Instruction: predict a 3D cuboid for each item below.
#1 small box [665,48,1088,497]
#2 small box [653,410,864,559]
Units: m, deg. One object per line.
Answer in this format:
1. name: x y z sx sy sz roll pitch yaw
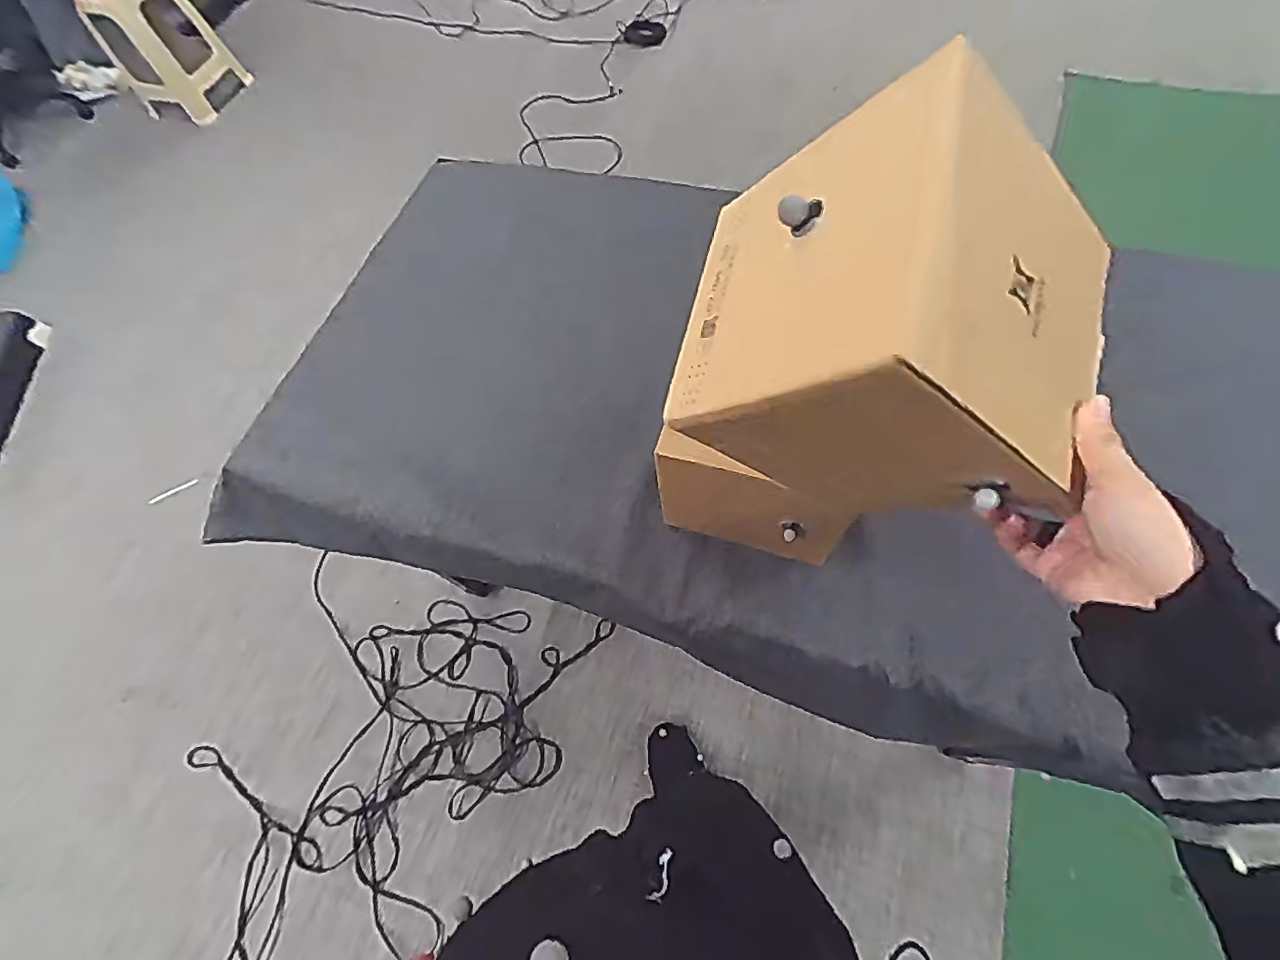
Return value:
1. small box: 0.141 -0.092 0.340 0.179 0.176 0.168 24 73 -28
2. small box: 0.125 -0.034 0.548 0.179 0.176 0.168 14 65 13
